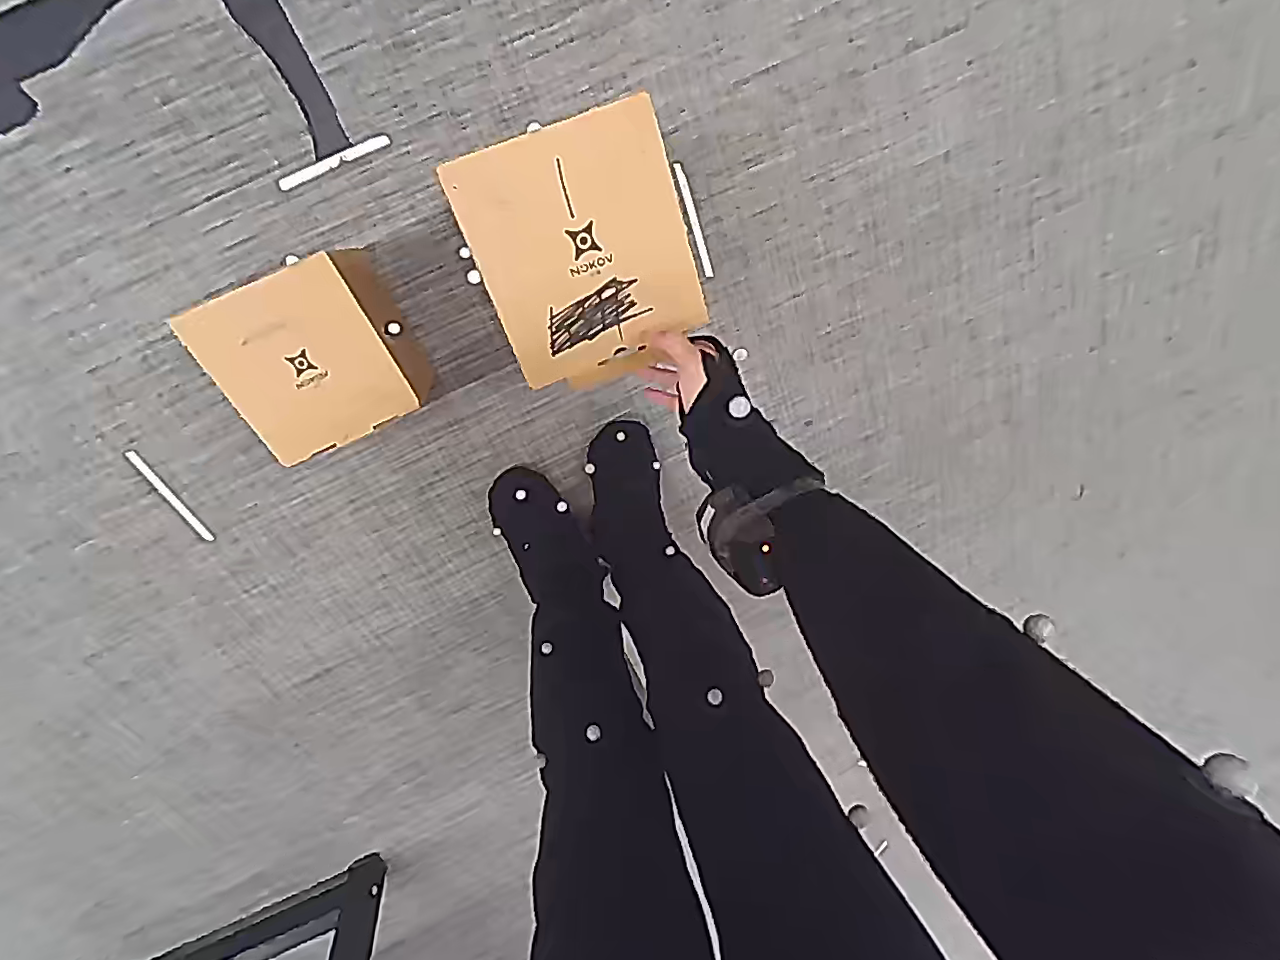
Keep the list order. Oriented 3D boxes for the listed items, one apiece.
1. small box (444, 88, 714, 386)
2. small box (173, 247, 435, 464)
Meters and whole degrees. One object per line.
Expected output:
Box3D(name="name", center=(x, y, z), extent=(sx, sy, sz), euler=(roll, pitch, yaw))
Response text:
Box3D(name="small box", center=(-0.053, -0.211, 0.487), extent=(0.168, 0.176, 0.179), euler=(-22, 117, -4))
Box3D(name="small box", center=(-0.357, -0.151, 0.623), extent=(0.168, 0.176, 0.179), euler=(-26, 117, -3))
